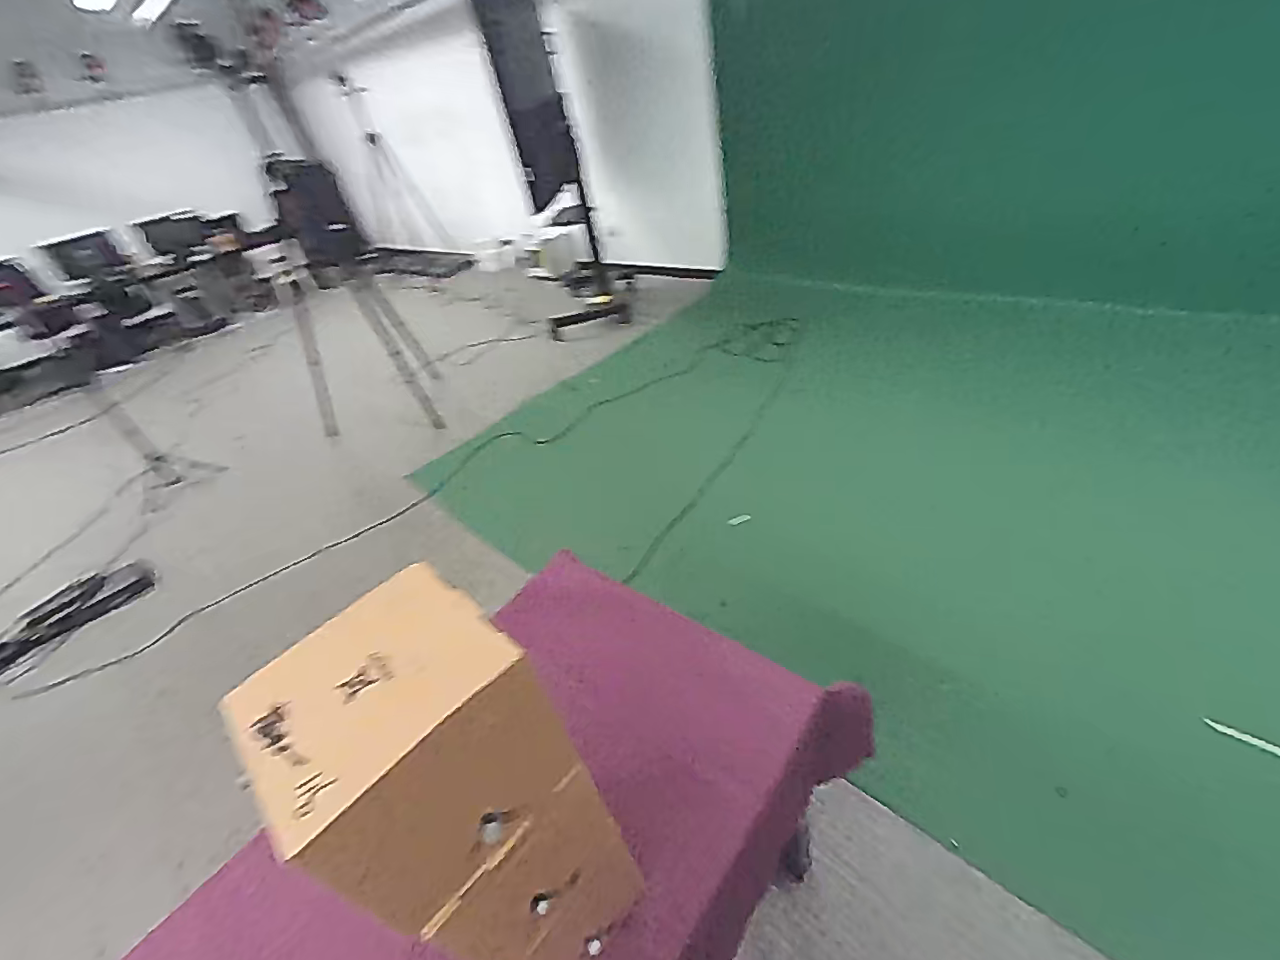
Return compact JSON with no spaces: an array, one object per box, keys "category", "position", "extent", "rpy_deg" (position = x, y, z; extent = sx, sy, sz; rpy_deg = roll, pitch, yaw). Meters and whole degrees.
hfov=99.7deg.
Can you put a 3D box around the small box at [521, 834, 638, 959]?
[{"category":"small box","position":[-0.128,0.467,0.640],"extent":[0.179,0.176,0.168],"rpy_deg":[22,50,38]}]

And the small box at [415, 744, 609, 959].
[{"category":"small box","position":[-0.157,0.339,0.544],"extent":[0.179,0.176,0.168],"rpy_deg":[22,49,37]}]

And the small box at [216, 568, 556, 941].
[{"category":"small box","position":[-0.187,0.213,0.443],"extent":[0.168,0.176,0.179],"rpy_deg":[24,49,39]}]
